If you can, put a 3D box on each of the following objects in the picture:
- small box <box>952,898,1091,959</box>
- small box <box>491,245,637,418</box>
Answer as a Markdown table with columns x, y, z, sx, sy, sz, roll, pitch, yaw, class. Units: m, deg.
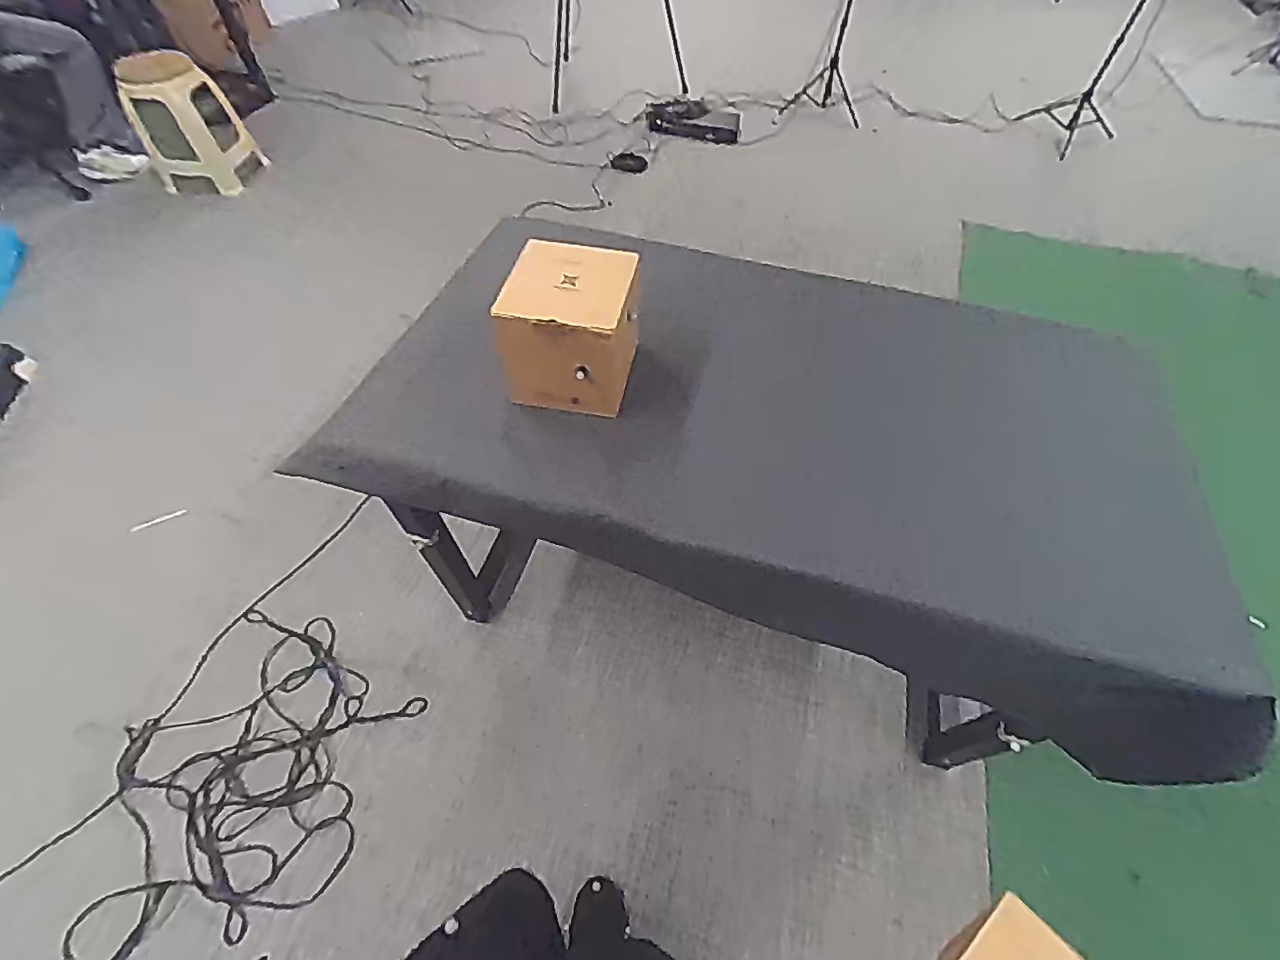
| x | y | z | sx | sy | sz | roll | pitch | yaw | class |
| --- | --- | --- | --- | --- | --- | --- | --- | --- | --- |
| 0.356 | 0.545 | 0.492 | 0.179 | 0.176 | 0.168 | -24 | 41 | -27 | small box |
| -0.100 | -0.215 | 0.800 | 0.168 | 0.176 | 0.179 | 10 | 54 | 4 | small box |
